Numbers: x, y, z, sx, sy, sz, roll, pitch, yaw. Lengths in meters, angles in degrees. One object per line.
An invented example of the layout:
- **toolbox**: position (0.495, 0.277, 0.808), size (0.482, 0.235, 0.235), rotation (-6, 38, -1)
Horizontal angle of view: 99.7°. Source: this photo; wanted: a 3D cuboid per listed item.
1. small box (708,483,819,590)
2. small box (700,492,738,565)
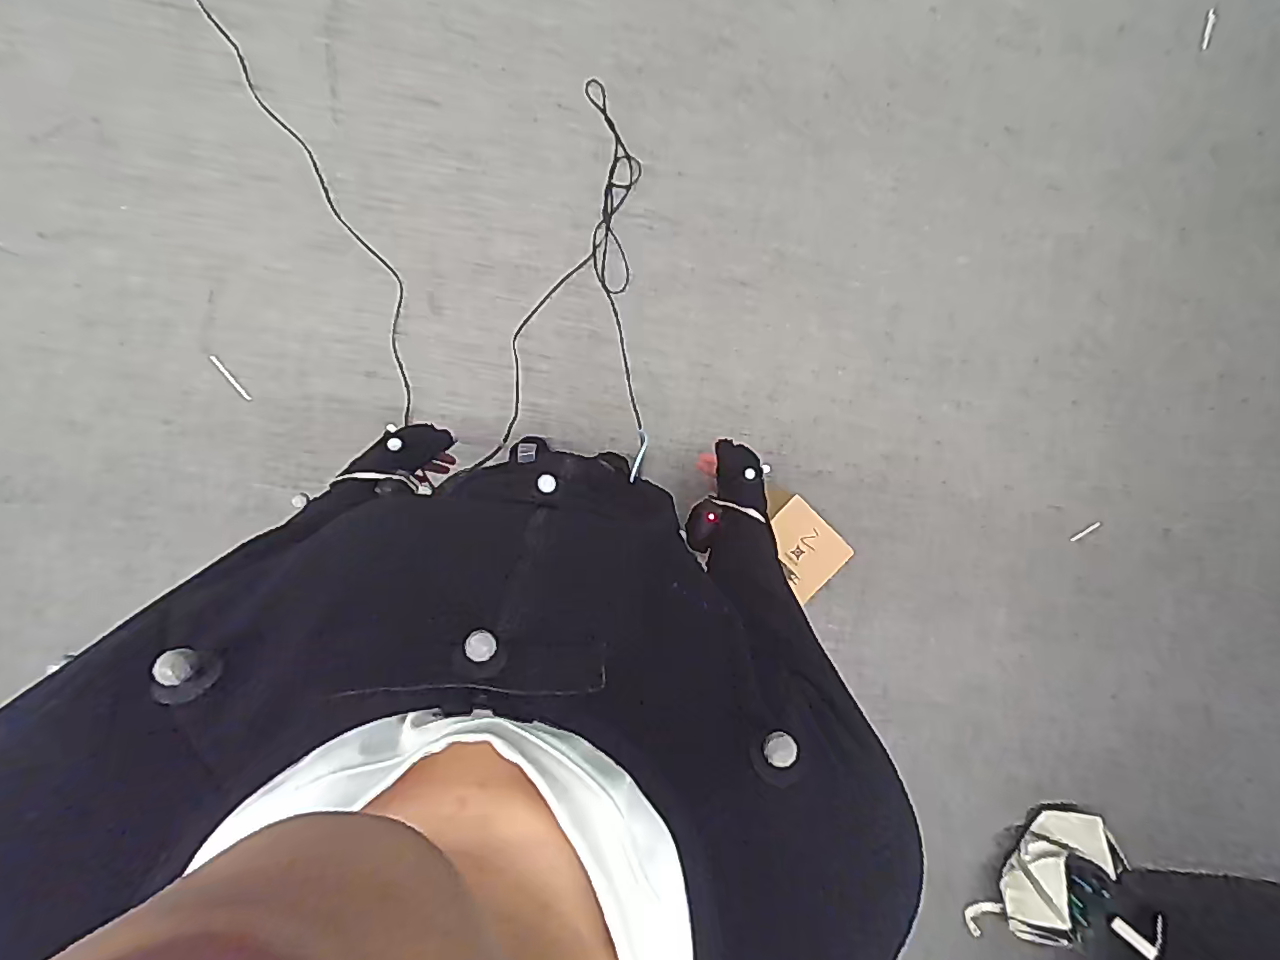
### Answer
- **small box**: position (0.279, 0.123, 1.274), size (0.168, 0.176, 0.179), rotation (38, 92, -6)
- **small box**: position (0.260, 0.125, 1.422), size (0.179, 0.176, 0.168), rotation (3, 95, -5)
